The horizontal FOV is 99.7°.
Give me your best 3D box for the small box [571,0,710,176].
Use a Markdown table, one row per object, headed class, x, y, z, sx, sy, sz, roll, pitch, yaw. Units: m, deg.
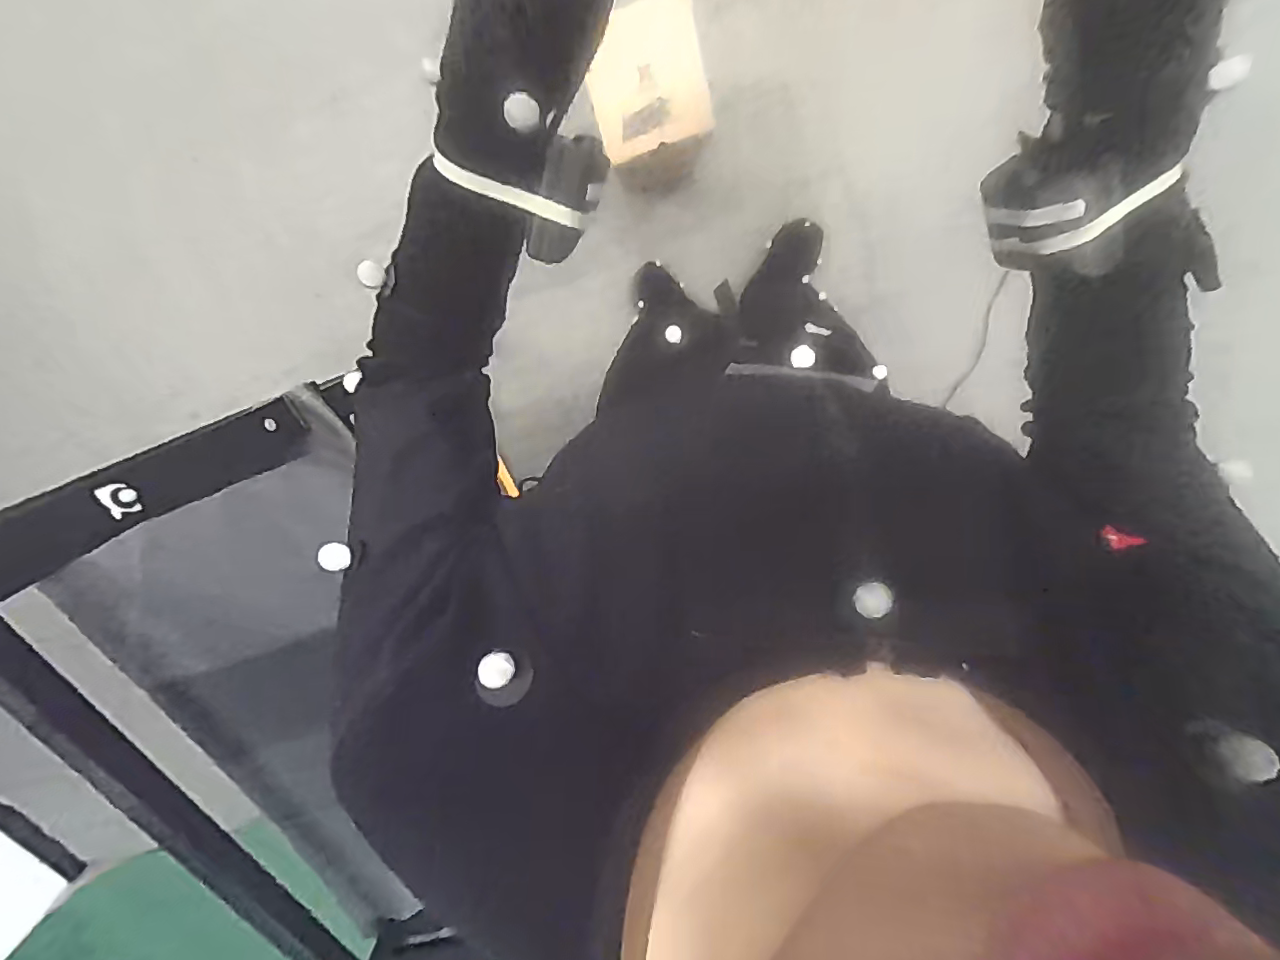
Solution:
| class | x | y | z | sx | sy | sz | roll | pitch | yaw |
| --- | --- | --- | --- | --- | --- | --- | --- | --- | --- |
| small box | 0.007 | -0.595 | 0.846 | 0.168 | 0.176 | 0.179 | -15 | 112 | 8 |
